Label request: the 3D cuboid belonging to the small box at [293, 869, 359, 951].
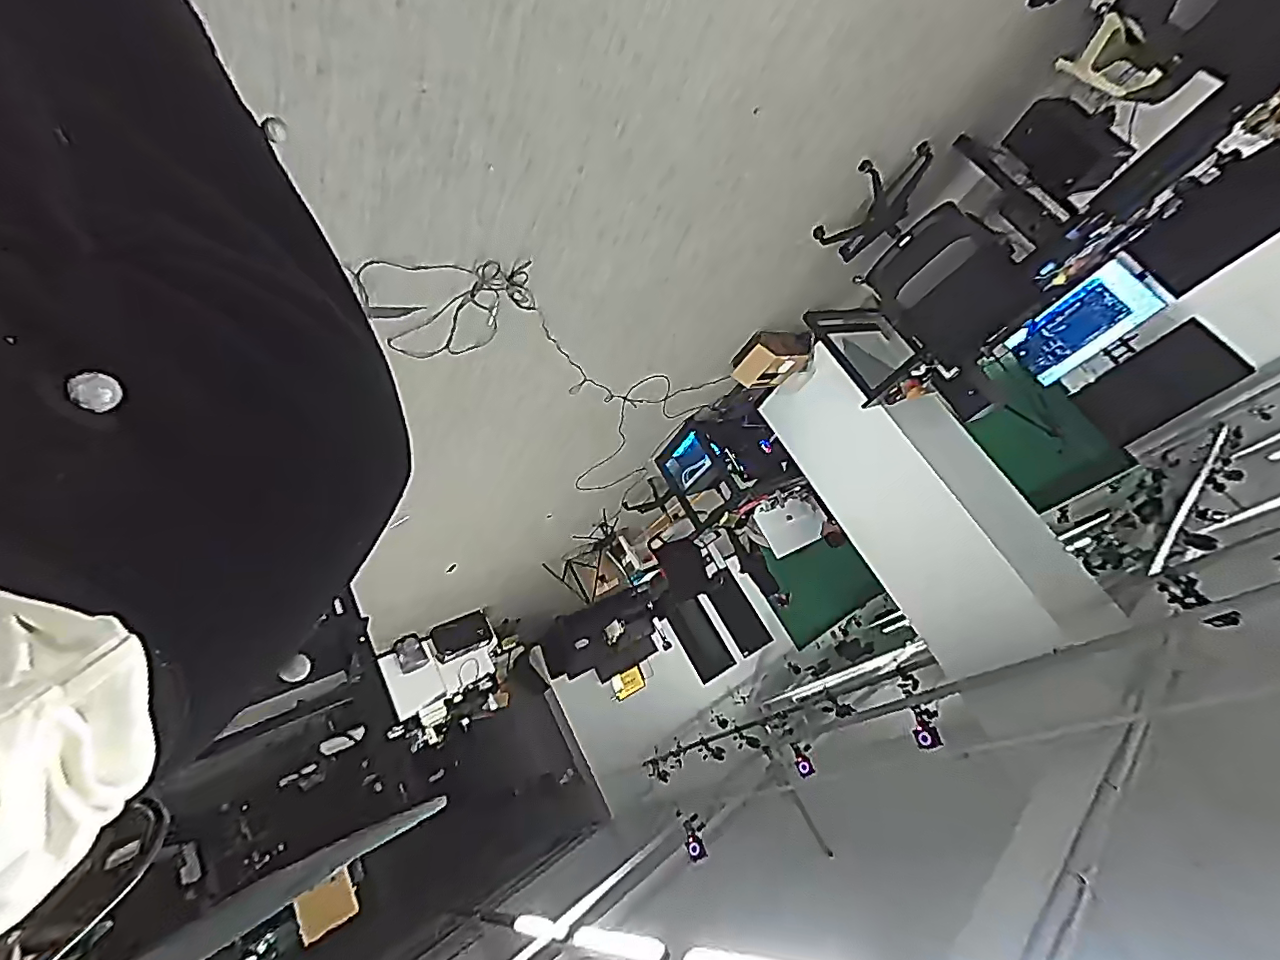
[{"bbox_3d":[-1.121,1.524,1.931,0.168,0.176,0.179,-17,157,-35],"label":"small box"}]
